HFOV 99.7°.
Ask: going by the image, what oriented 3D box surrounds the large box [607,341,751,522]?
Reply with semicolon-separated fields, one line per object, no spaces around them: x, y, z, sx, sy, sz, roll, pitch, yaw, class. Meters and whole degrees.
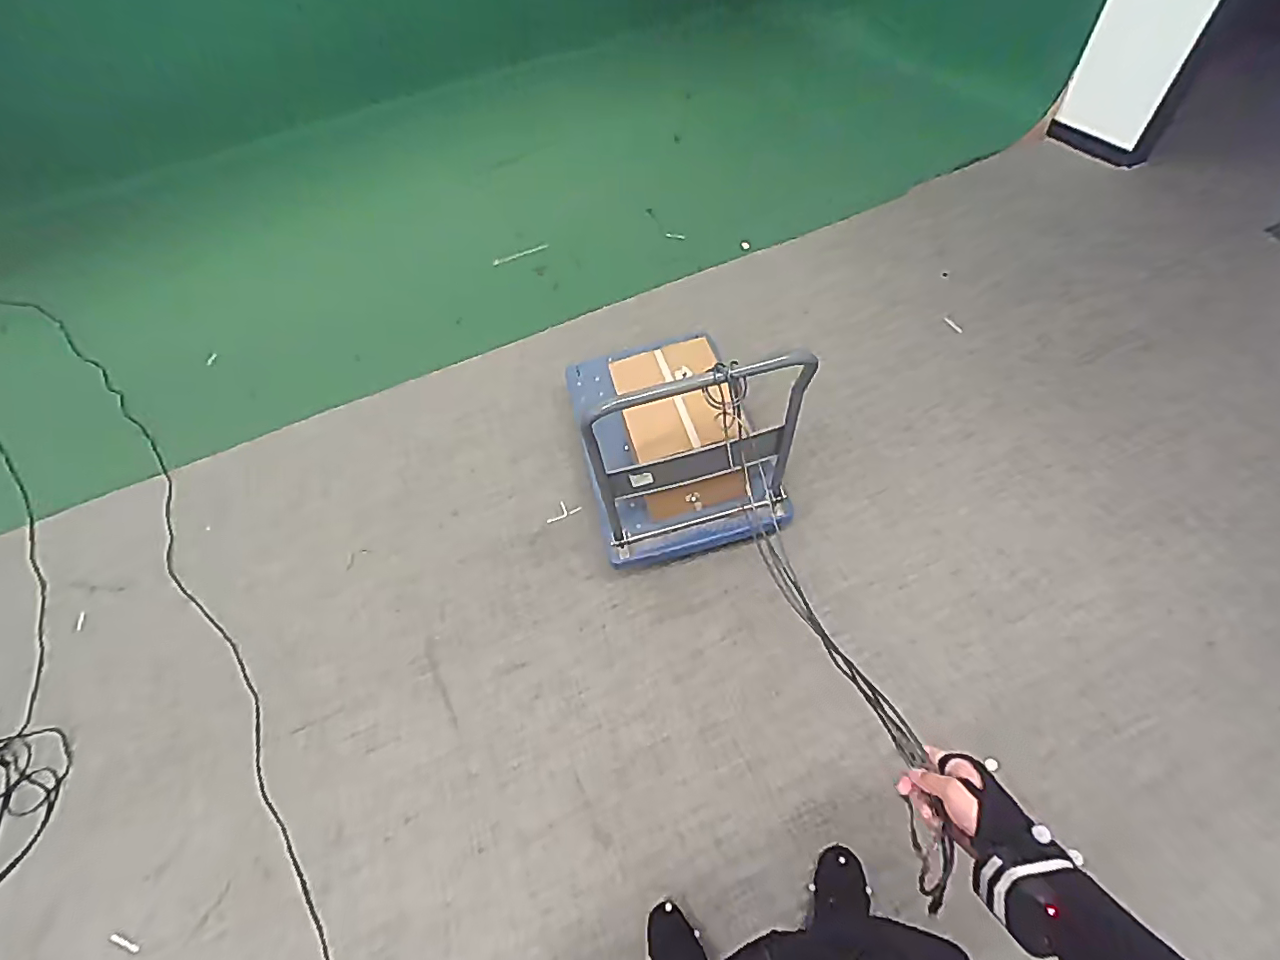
0.118;-0.144;1.646;0.320;0.320;0.408;-16;54;-3;large box
